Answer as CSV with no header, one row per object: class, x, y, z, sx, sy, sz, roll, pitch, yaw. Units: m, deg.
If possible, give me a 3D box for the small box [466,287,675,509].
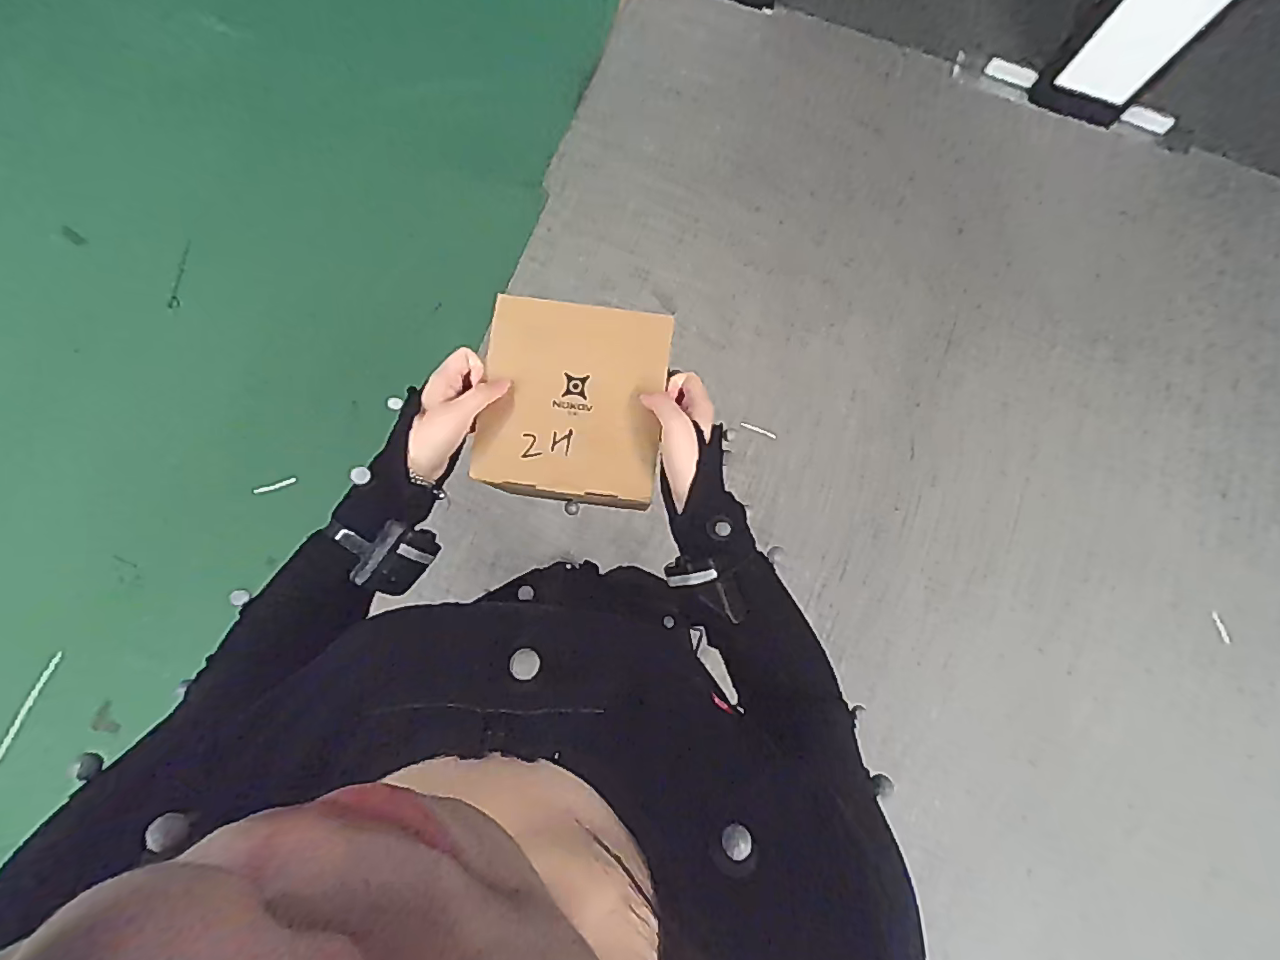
small box,-0.062,-0.070,0.556,0.168,0.176,0.179,7,84,0
